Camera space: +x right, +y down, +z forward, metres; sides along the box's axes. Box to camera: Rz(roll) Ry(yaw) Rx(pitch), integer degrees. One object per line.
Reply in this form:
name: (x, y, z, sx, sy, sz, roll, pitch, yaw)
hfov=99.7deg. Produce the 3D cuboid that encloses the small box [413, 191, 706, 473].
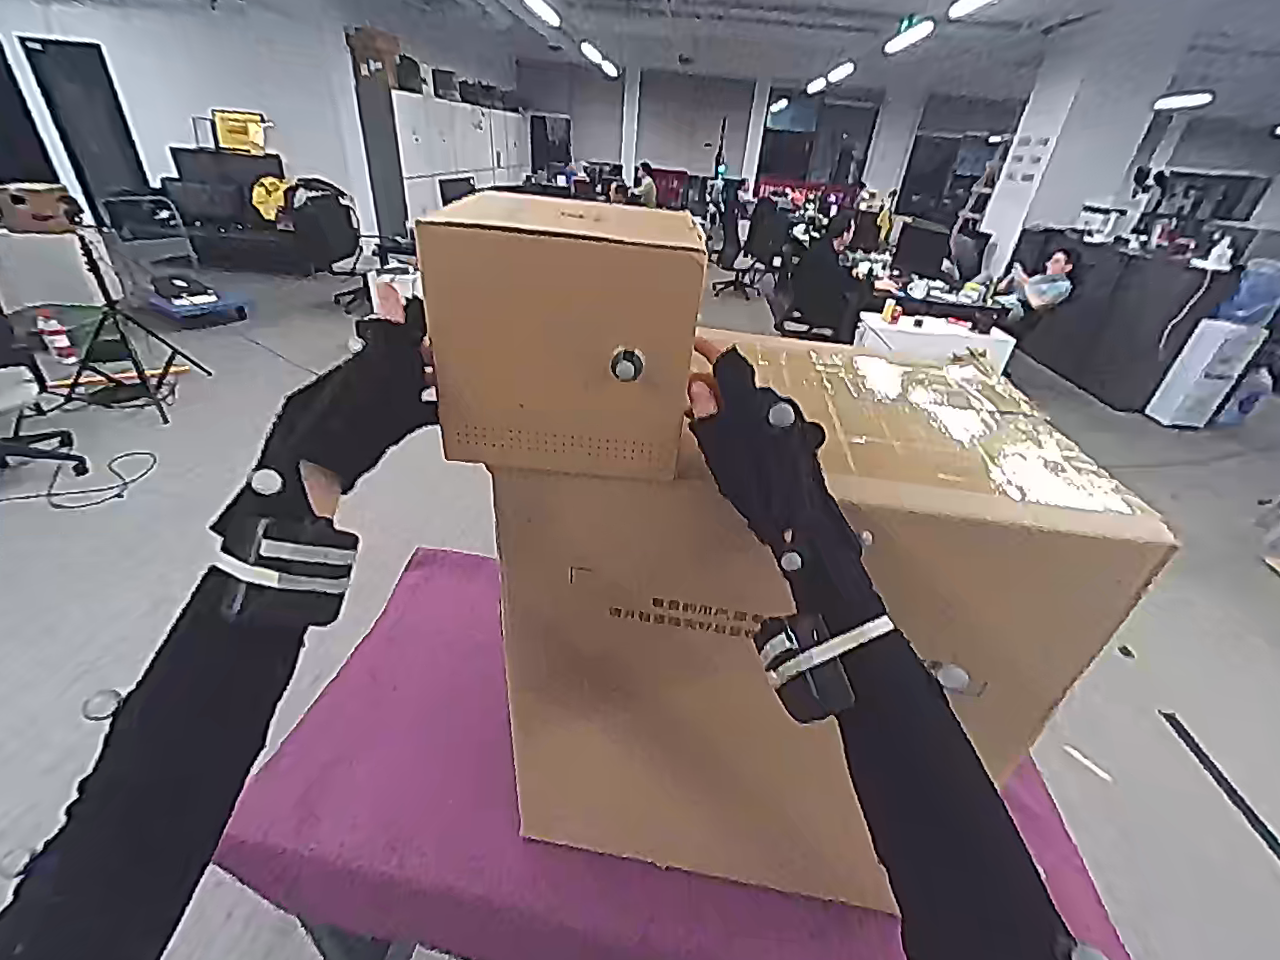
small box: (-0.052, -0.119, 0.428, 0.179, 0.176, 0.168, 4, 32, -2)
